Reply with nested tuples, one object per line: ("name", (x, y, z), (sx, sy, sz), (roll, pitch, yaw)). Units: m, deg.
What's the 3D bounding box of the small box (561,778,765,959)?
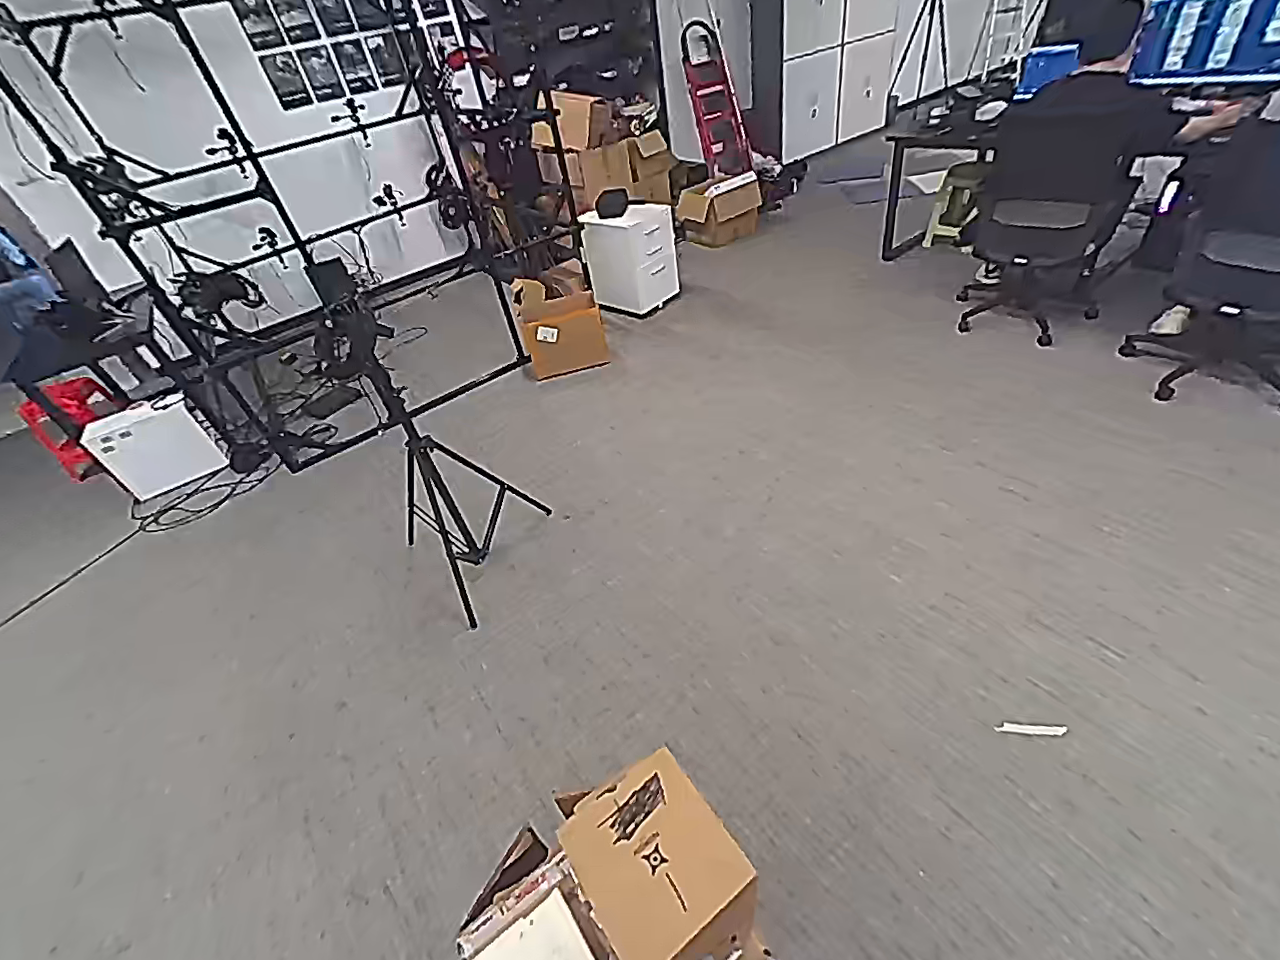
("small box", (0.028, 0.514, 0.651), (0.168, 0.176, 0.179), (-29, 45, -22))
